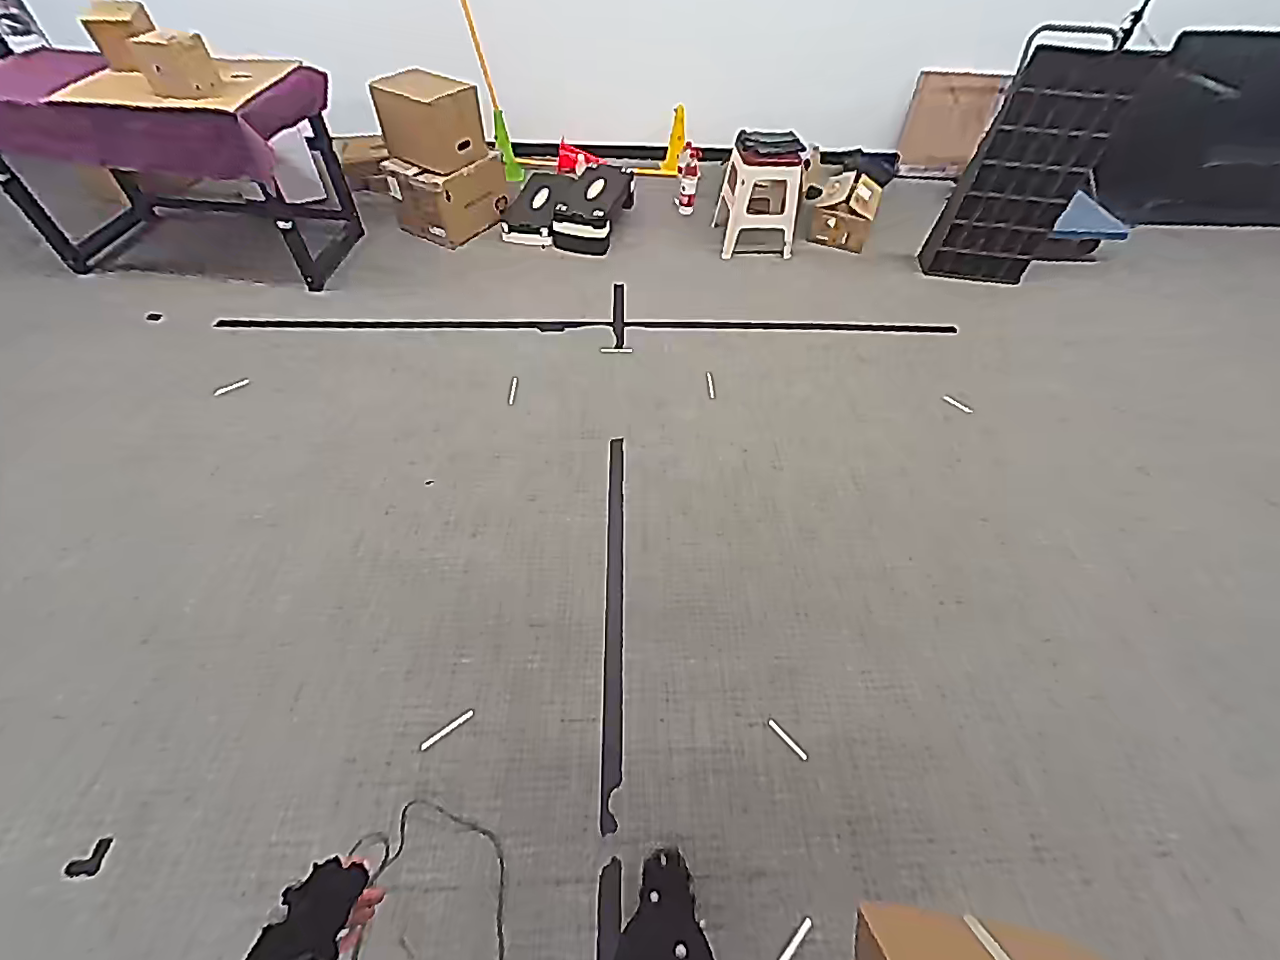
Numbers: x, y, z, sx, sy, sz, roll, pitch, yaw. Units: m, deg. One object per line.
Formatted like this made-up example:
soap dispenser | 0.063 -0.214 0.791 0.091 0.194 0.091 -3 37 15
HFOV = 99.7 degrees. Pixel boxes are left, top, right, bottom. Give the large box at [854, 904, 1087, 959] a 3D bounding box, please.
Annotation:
large box | 0.438 0.766 0.574 0.320 0.408 0.320 7 83 4
